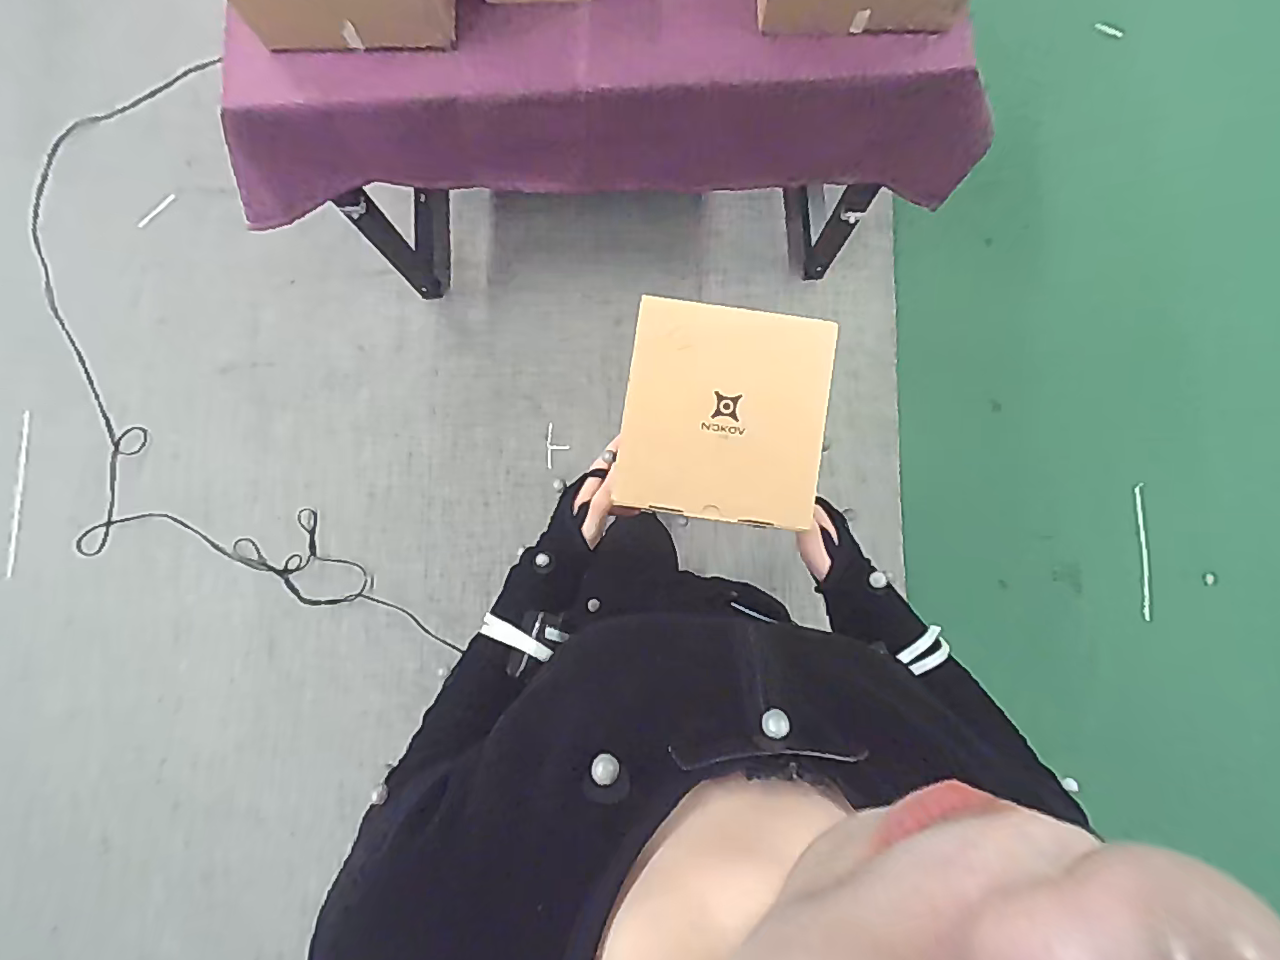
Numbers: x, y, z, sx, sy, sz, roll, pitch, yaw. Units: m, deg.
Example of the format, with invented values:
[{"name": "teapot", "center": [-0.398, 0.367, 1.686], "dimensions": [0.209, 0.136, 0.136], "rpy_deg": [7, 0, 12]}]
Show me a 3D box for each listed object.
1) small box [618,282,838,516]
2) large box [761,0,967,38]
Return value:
[{"name": "small box", "center": [0.072, -0.065, 0.526], "dimensions": [0.168, 0.176, 0.179], "rpy_deg": [8, 88, 0]}, {"name": "large box", "center": [0.349, -0.930, 0.747], "dimensions": [0.320, 0.320, 0.408], "rpy_deg": [0, 84, 1]}]
